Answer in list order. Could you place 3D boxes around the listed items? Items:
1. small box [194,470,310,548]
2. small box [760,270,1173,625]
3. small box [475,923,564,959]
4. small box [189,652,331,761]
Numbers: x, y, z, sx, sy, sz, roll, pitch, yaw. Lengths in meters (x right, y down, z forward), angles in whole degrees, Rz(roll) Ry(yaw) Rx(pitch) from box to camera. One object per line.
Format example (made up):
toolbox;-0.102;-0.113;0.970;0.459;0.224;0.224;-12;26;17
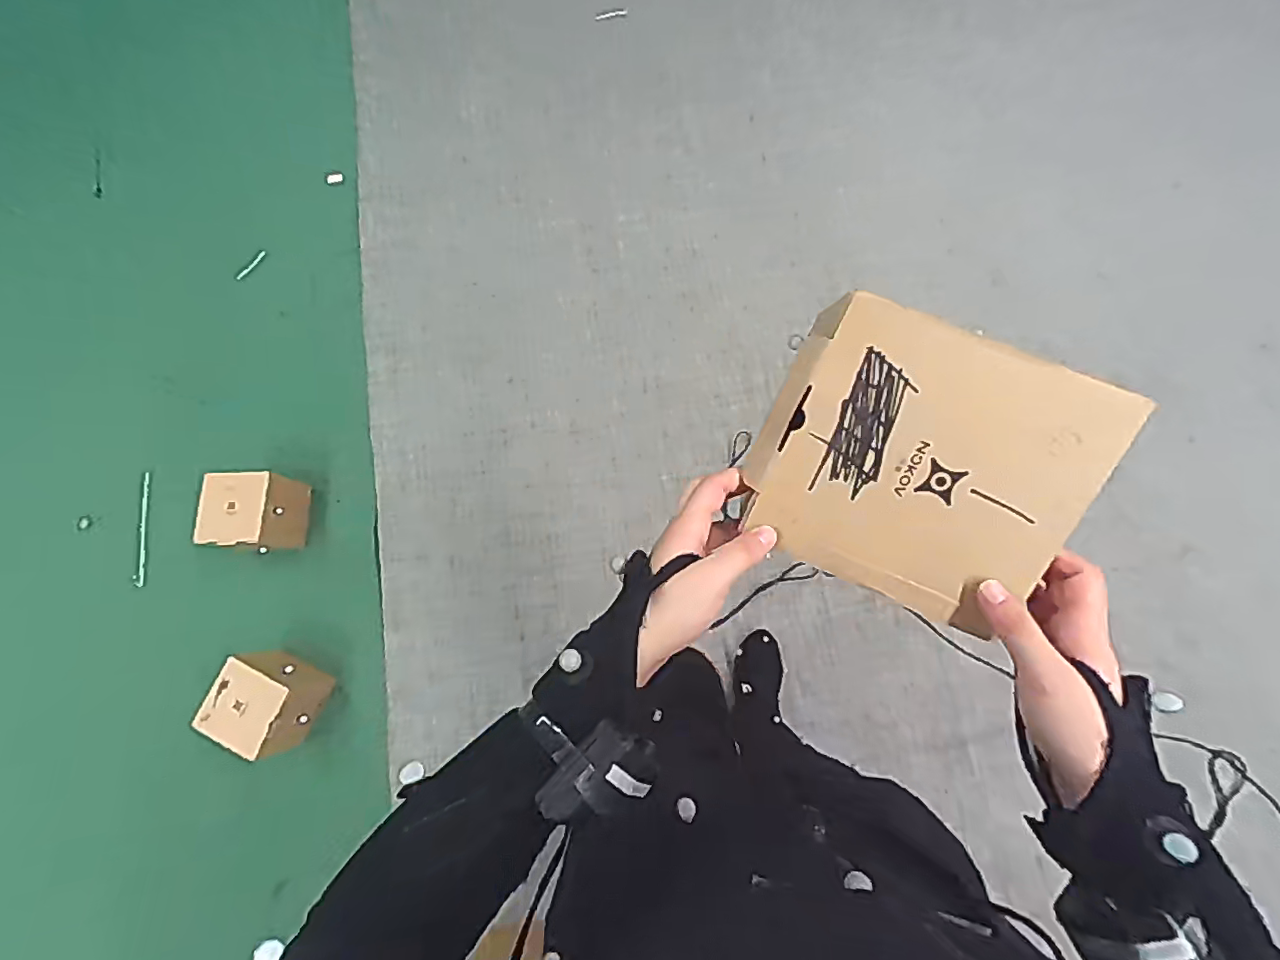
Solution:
small box;-0.975;0.081;1.375;0.168;0.176;0.179;-1;75;2
small box;0.199;-0.030;0.400;0.179;0.176;0.168;24;105;5
small box;-0.247;1.040;1.092;0.179;0.176;0.168;-12;75;1
small box;-0.874;0.515;1.264;0.179;0.176;0.168;24;80;8
